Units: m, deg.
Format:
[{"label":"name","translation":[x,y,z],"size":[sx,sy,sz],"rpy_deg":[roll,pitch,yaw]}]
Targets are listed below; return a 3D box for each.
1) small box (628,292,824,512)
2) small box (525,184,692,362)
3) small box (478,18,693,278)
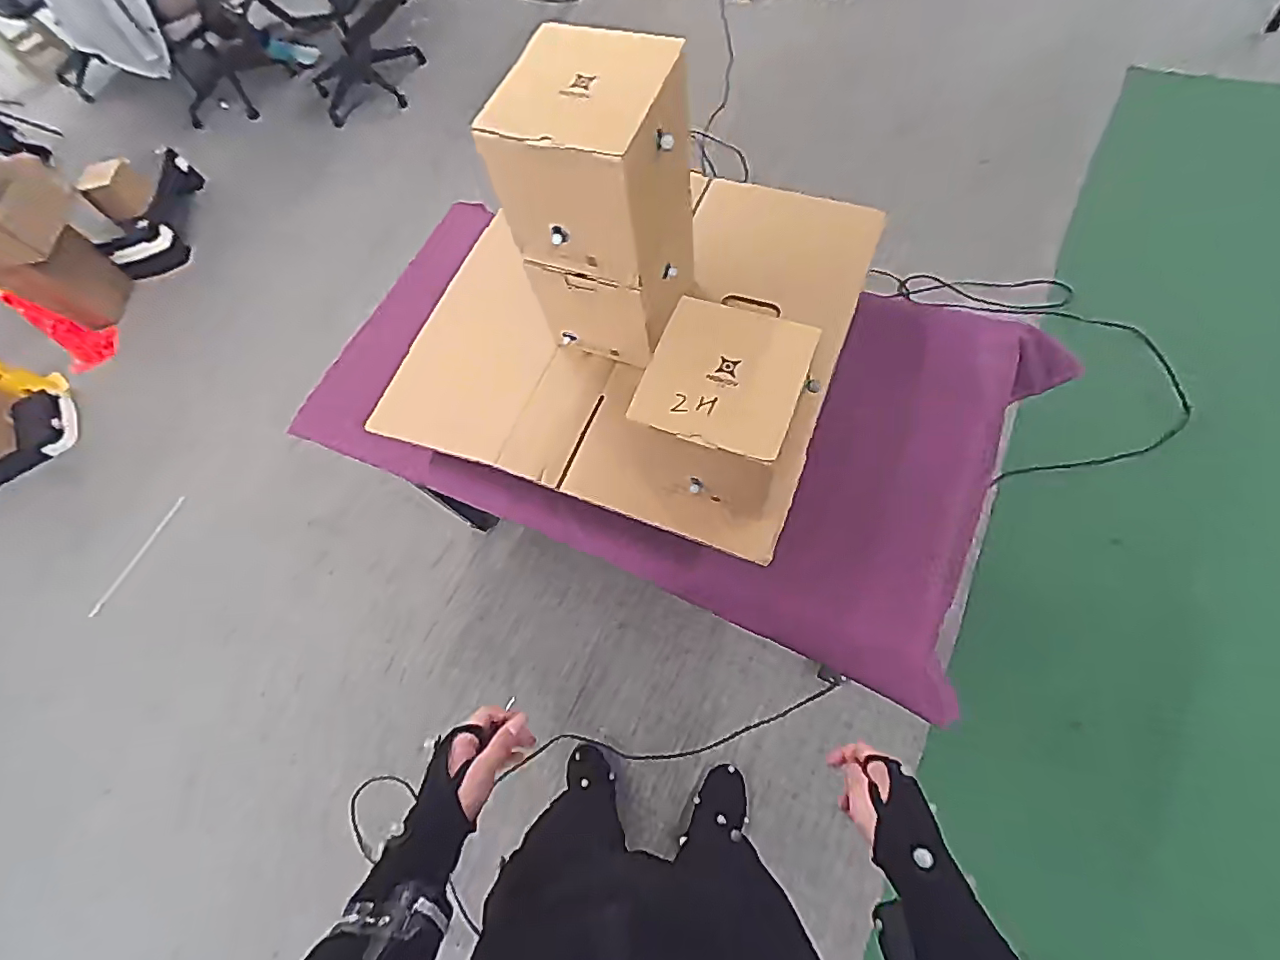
[{"label":"small box","translation":[0.102,-0.086,0.649],"size":[0.168,0.176,0.179],"rpy_deg":[19,72,15]},{"label":"small box","translation":[-0.029,-0.292,0.752],"size":[0.168,0.176,0.179],"rpy_deg":[19,71,14]},{"label":"small box","translation":[-0.046,-0.362,0.606],"size":[0.168,0.176,0.179],"rpy_deg":[18,72,13]}]
